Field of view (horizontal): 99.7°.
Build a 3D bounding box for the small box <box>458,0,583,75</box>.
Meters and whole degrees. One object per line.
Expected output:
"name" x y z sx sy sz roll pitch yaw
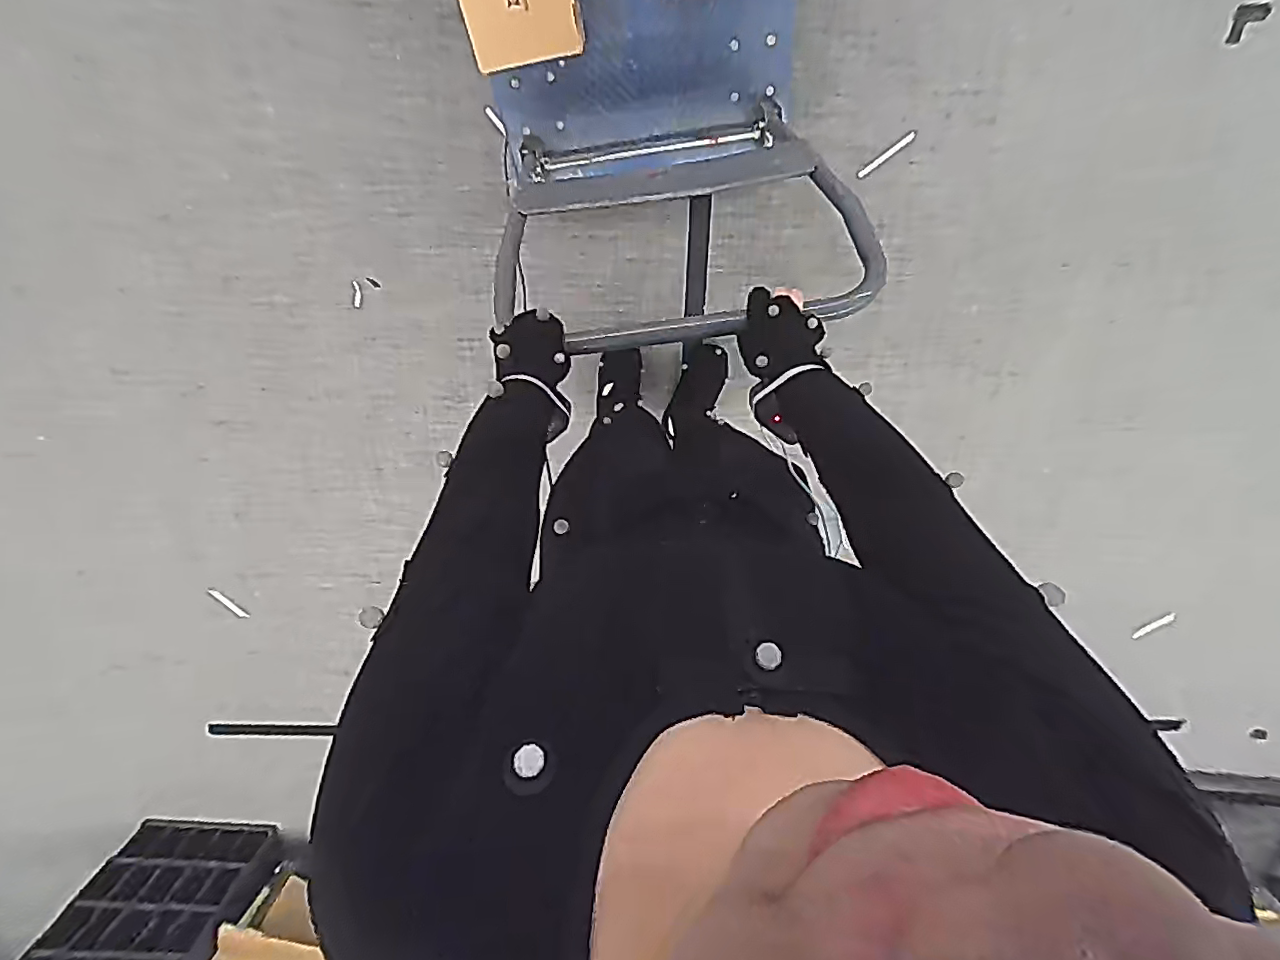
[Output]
"small box" -0.197 -0.793 0.894 0.179 0.176 0.168 -10 132 4
